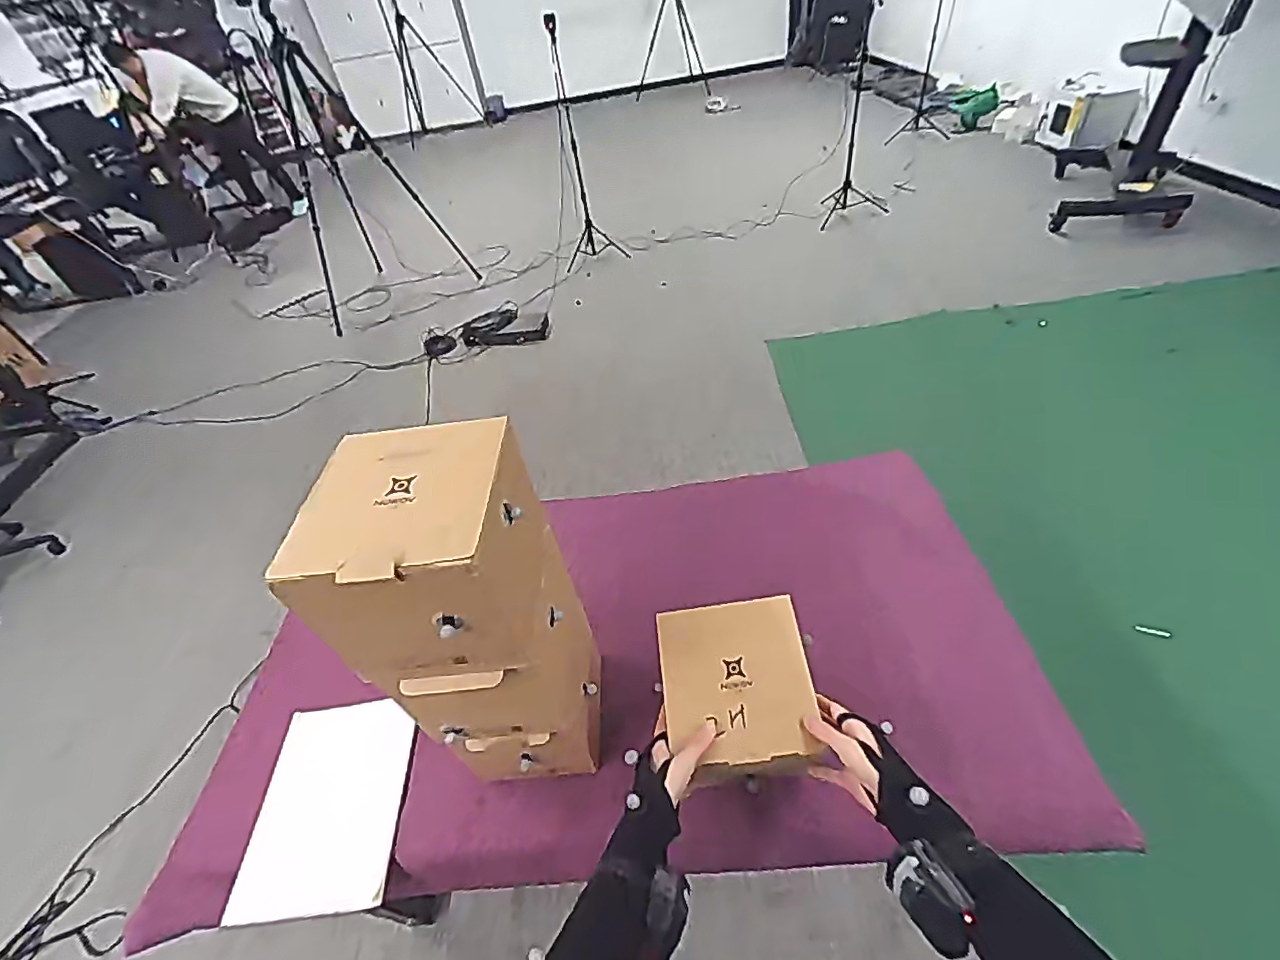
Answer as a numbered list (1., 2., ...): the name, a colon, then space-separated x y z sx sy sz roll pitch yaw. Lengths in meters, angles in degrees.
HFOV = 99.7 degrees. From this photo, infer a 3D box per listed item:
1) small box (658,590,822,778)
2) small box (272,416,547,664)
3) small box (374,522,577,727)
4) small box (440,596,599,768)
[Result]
1. small box: 0.120 0.261 0.682 0.168 0.176 0.179 -10 54 7
2. small box: -0.194 0.064 0.521 0.168 0.176 0.179 -5 44 4
3. small box: -0.173 0.176 0.638 0.168 0.176 0.179 -6 43 4
4. small box: -0.152 0.288 0.757 0.168 0.176 0.179 -6 45 4
